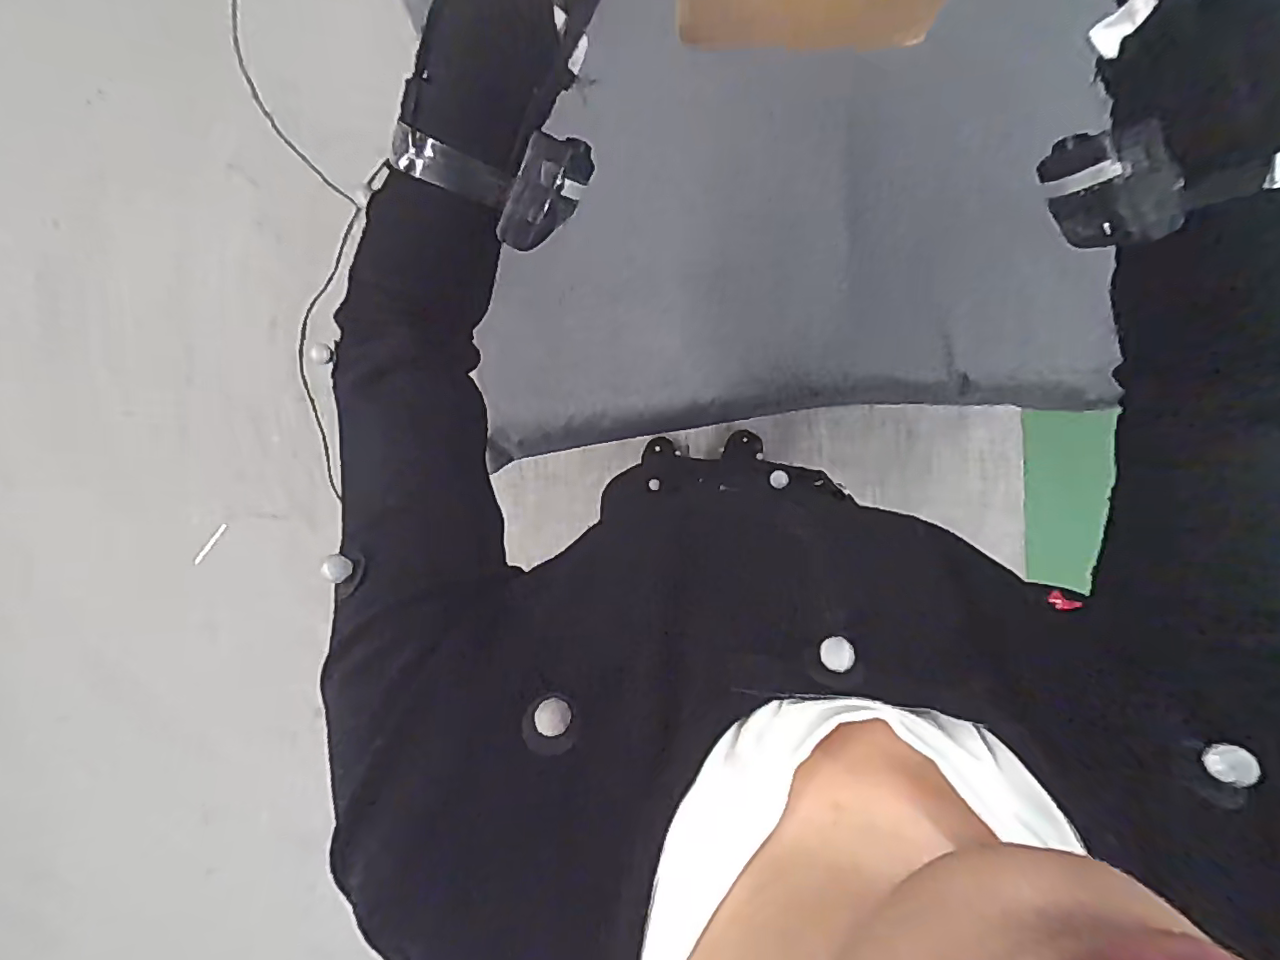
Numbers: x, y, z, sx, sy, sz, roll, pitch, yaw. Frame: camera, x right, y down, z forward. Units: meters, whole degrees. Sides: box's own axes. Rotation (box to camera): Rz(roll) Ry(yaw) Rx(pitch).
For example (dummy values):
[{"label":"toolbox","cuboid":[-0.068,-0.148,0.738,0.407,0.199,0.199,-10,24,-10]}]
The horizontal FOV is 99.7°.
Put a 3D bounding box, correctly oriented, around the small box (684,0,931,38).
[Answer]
[{"label":"small box","cuboid":[0.116,-0.395,0.304,0.179,0.176,0.168,3,91,1]}]
